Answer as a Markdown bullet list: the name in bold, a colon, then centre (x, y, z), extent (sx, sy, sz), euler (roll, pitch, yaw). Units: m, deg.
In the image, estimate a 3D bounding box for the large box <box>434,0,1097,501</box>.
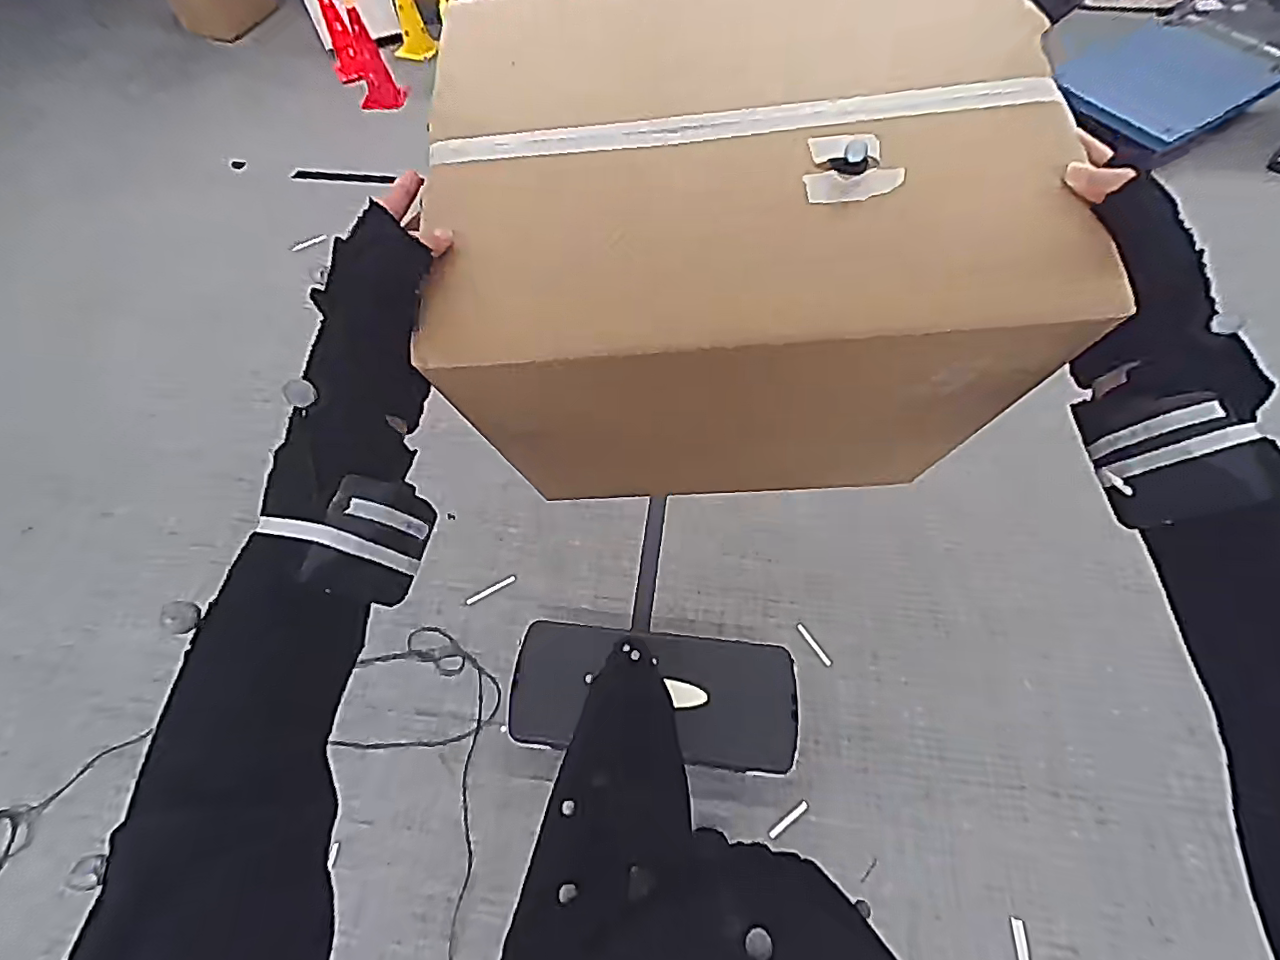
- **large box**: centre (0.070, -0.178, 0.509), extent (0.408, 0.320, 0.320), euler (-3, 73, 3)
